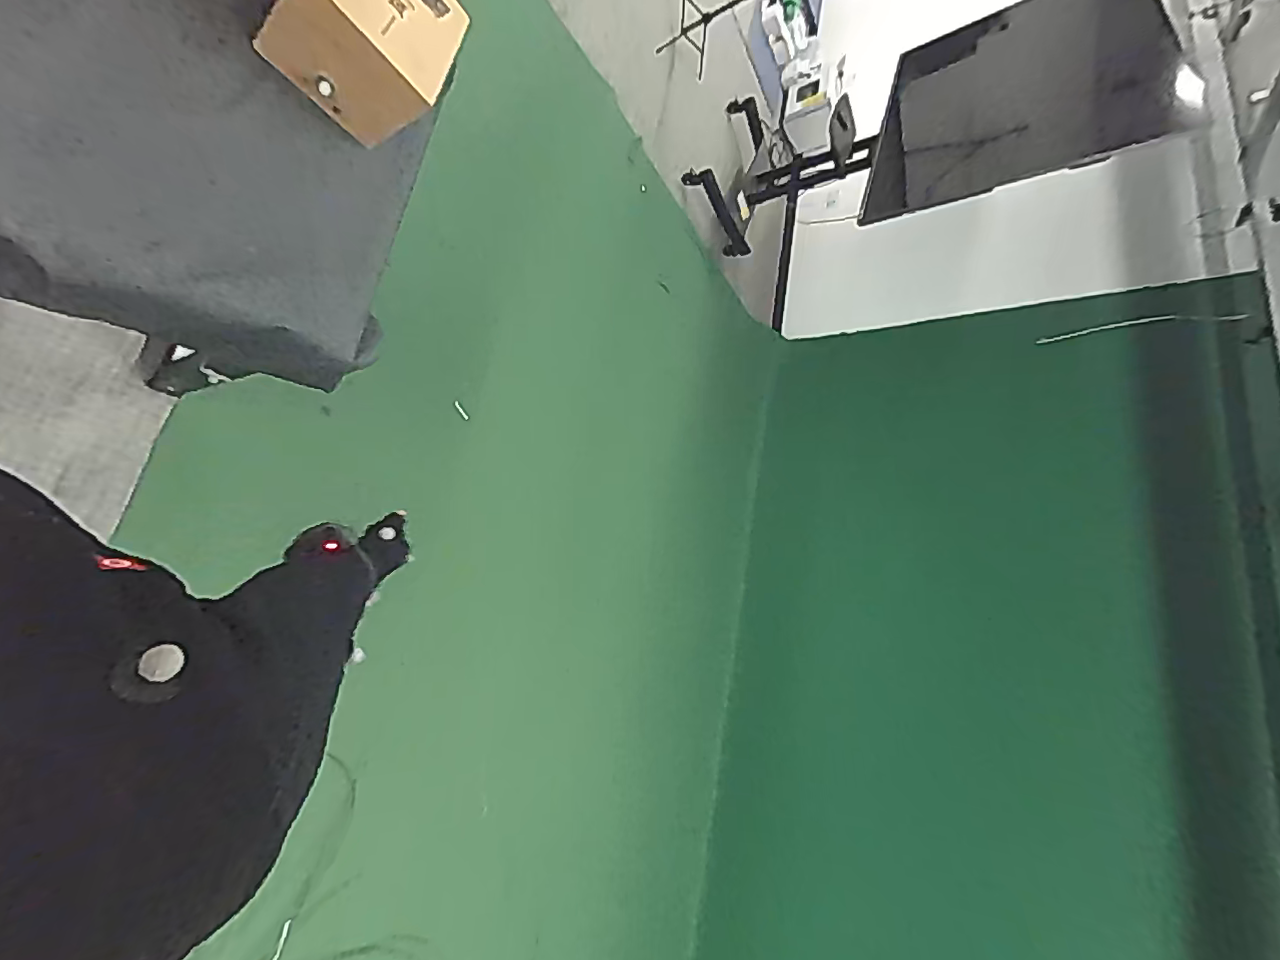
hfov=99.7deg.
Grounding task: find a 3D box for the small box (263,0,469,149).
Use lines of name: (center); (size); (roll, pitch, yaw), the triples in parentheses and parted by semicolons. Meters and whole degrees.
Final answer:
small box: (-0.373, -0.605, 0.741); (0.168, 0.176, 0.179); (34, 63, -50)
